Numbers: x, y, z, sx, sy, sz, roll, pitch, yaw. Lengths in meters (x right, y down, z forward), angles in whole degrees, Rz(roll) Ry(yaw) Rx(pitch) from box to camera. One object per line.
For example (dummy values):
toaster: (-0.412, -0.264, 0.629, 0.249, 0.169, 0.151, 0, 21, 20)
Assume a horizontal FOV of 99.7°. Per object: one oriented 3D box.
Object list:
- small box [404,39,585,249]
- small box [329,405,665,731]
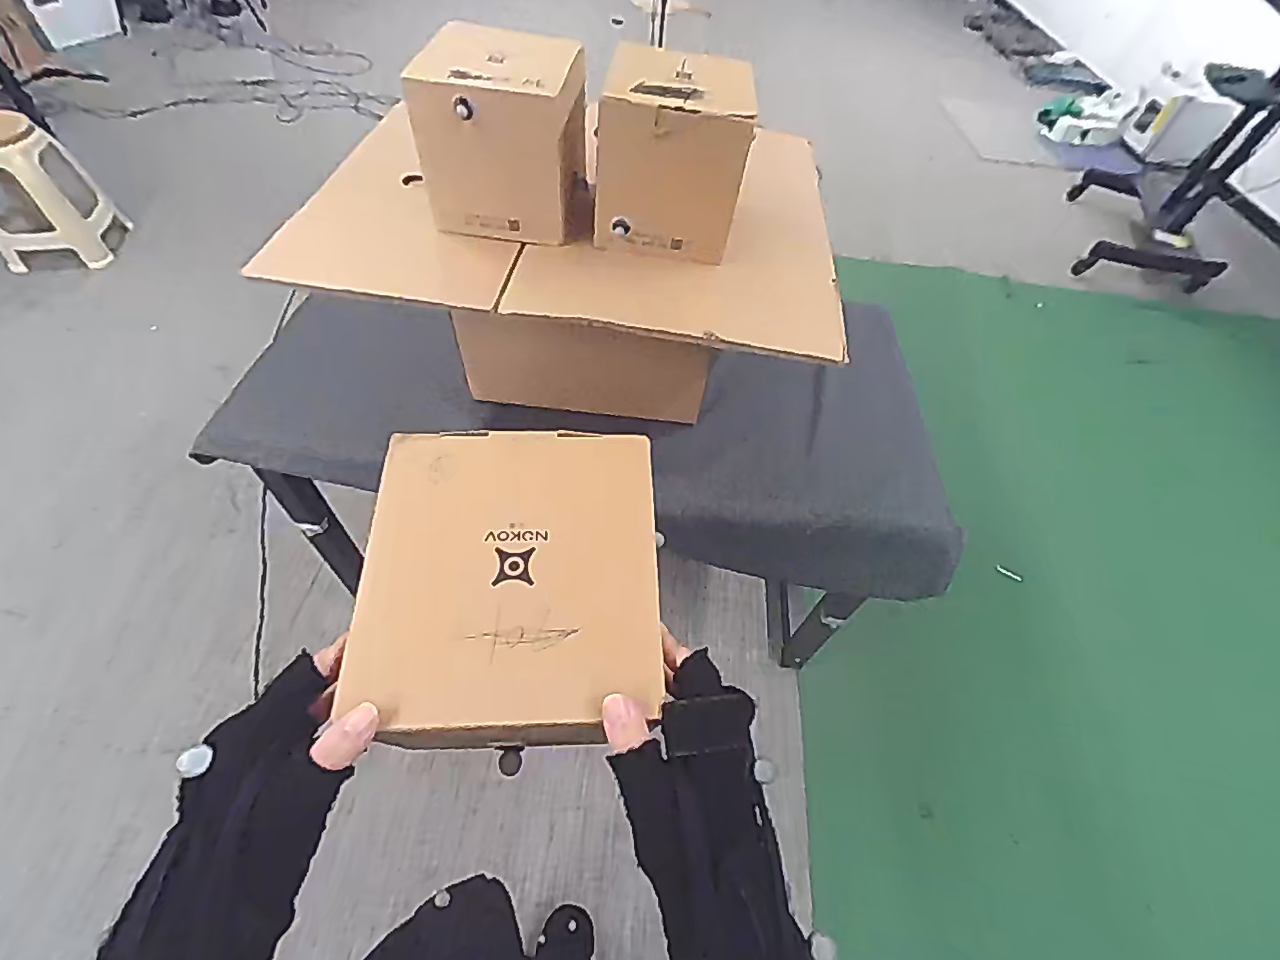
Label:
small box: (-0.165, -0.420, 0.681, 0.168, 0.176, 0.179, 7, 53, 2)
small box: (-0.078, 0.069, 0.374, 0.168, 0.176, 0.179, 0, 61, -5)
